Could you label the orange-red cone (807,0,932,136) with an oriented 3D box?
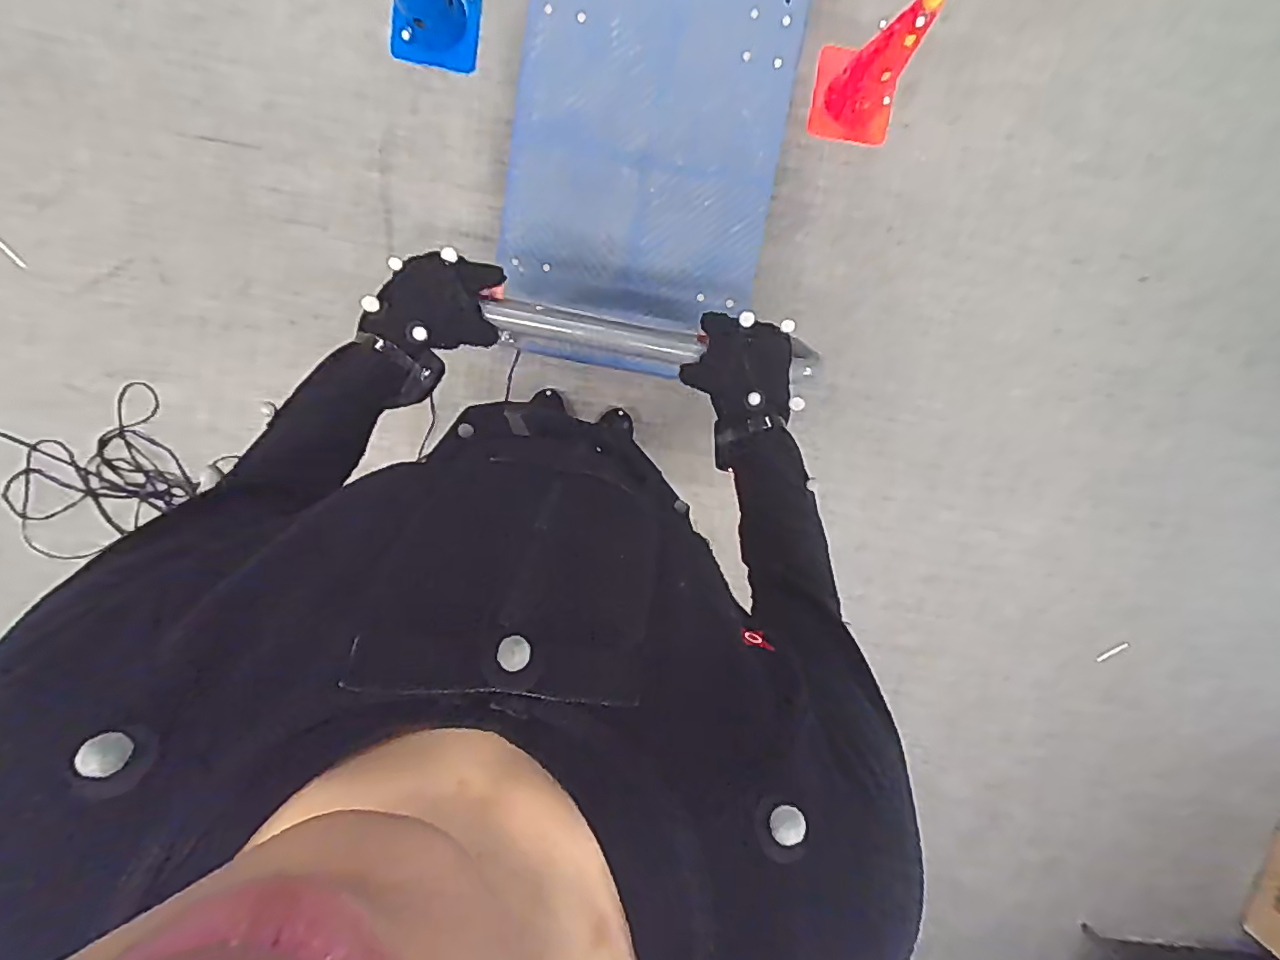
[{"bbox_3d":[0.523,-0.931,1.157,0.199,0.360,0.198,9,100,-2],"label":"orange-red cone"}]
